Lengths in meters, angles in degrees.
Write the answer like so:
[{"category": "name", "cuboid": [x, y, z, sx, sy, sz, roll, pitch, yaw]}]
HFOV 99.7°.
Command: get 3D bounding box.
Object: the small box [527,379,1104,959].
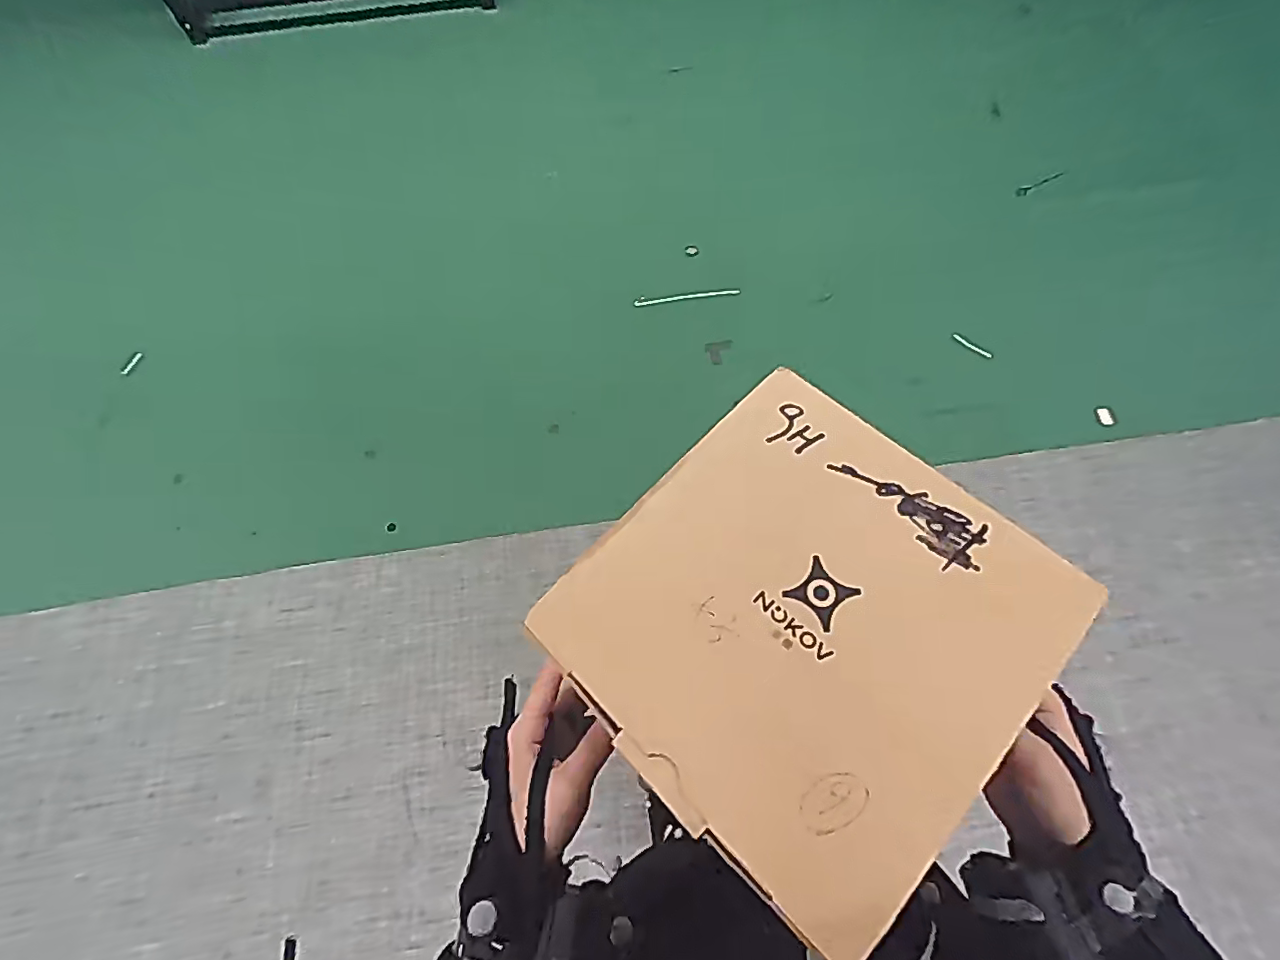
[{"category": "small box", "cuboid": [0.075, 0.088, 0.293, 0.168, 0.176, 0.179, 41, 76, 21]}]
